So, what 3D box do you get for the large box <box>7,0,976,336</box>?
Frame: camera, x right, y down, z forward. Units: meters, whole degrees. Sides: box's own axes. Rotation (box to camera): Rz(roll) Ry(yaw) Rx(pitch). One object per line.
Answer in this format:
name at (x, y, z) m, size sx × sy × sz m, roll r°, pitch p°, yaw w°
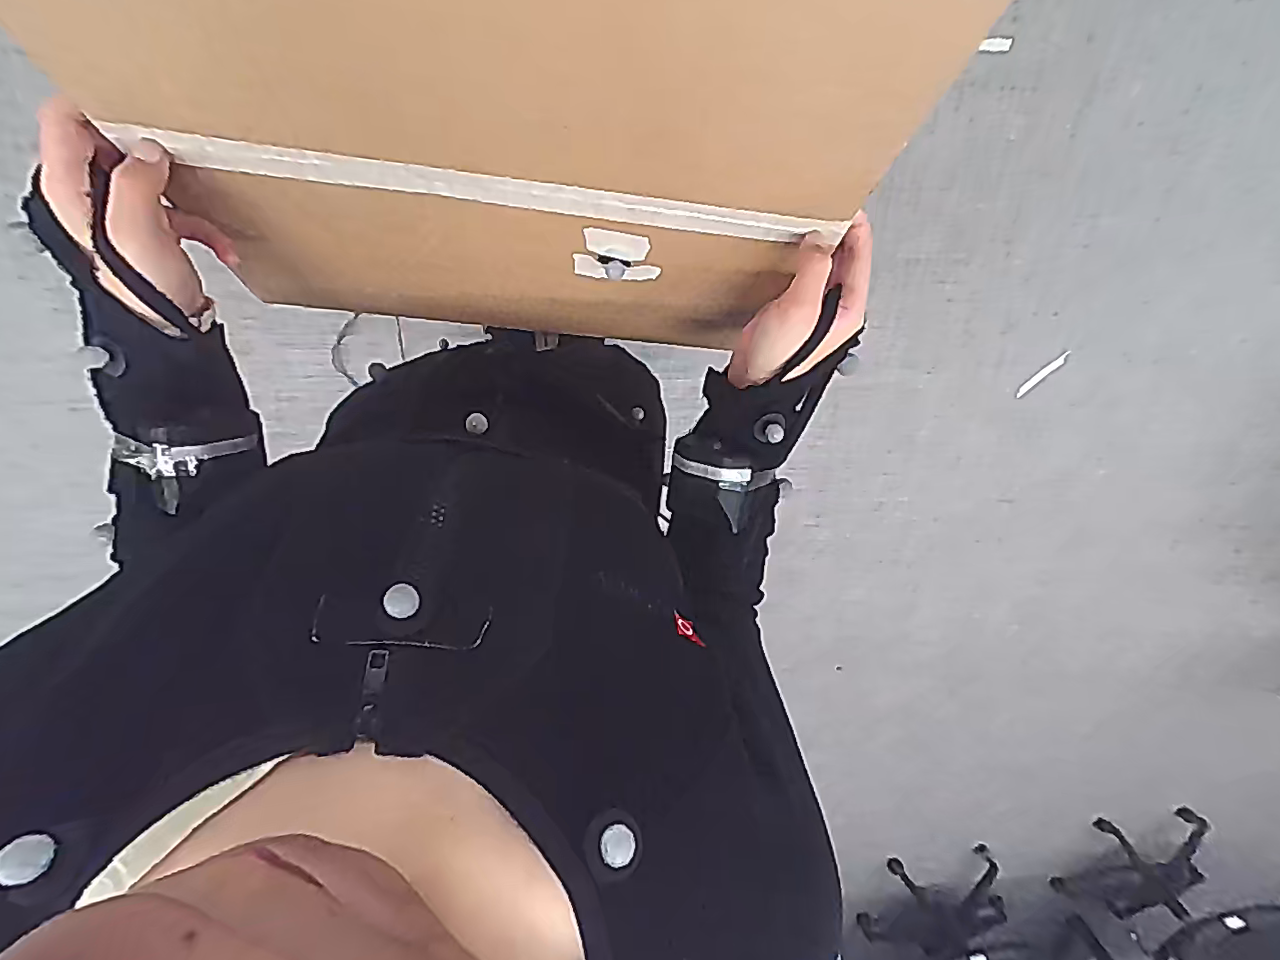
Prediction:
large box at (-0.075, -0.318, 0.348) m, size 0.408 × 0.320 × 0.320 m, roll 3°, pitch 76°, yaw -8°
